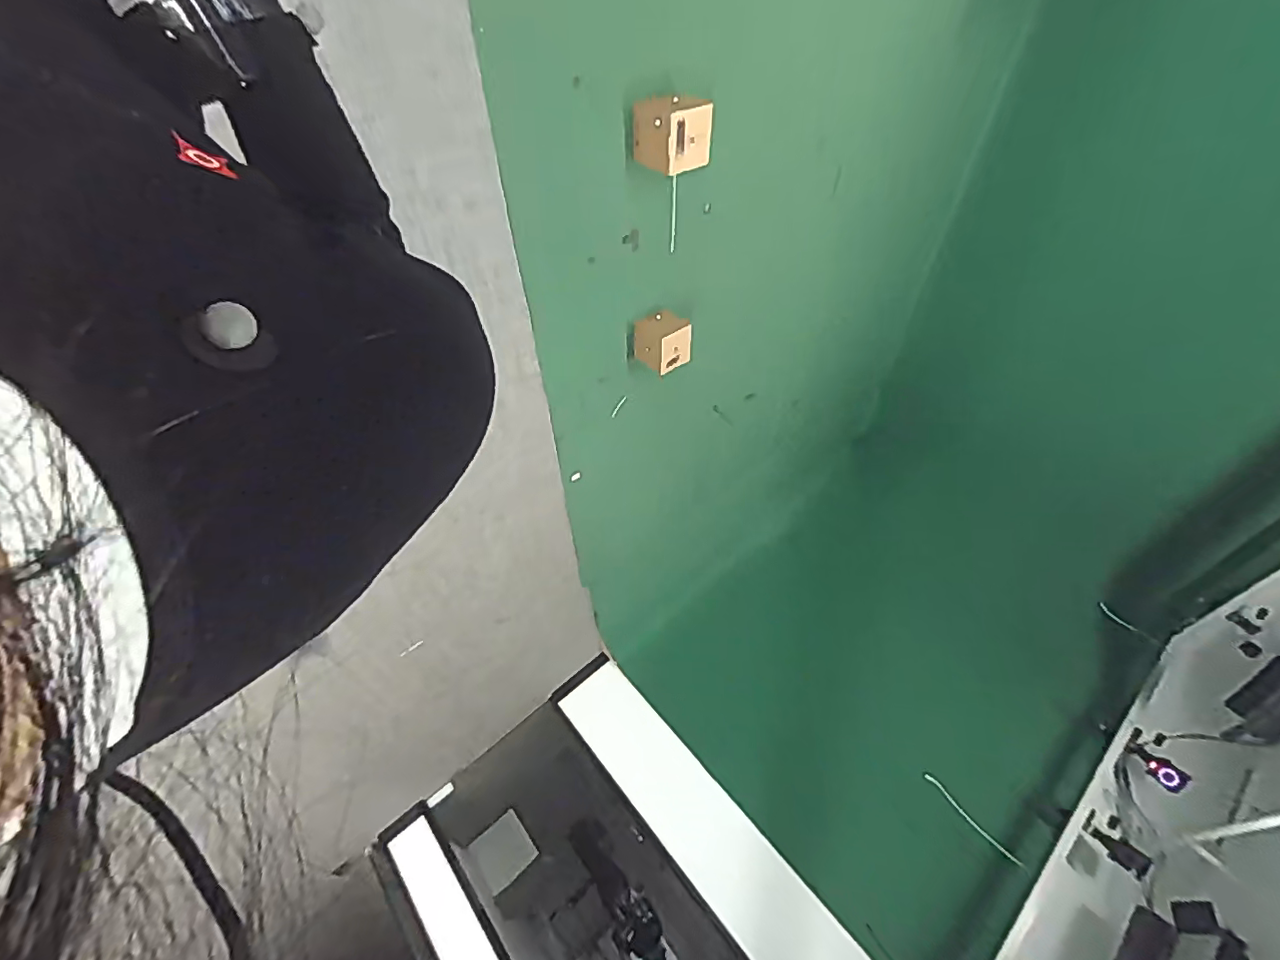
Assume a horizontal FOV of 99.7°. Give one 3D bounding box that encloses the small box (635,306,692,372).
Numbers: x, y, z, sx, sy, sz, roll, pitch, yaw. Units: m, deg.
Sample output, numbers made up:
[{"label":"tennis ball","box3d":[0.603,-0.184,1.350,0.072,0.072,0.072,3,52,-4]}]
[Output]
[{"label":"small box","box3d":[0.091,-0.575,2.196,0.168,0.176,0.179,-33,145,-26]}]
